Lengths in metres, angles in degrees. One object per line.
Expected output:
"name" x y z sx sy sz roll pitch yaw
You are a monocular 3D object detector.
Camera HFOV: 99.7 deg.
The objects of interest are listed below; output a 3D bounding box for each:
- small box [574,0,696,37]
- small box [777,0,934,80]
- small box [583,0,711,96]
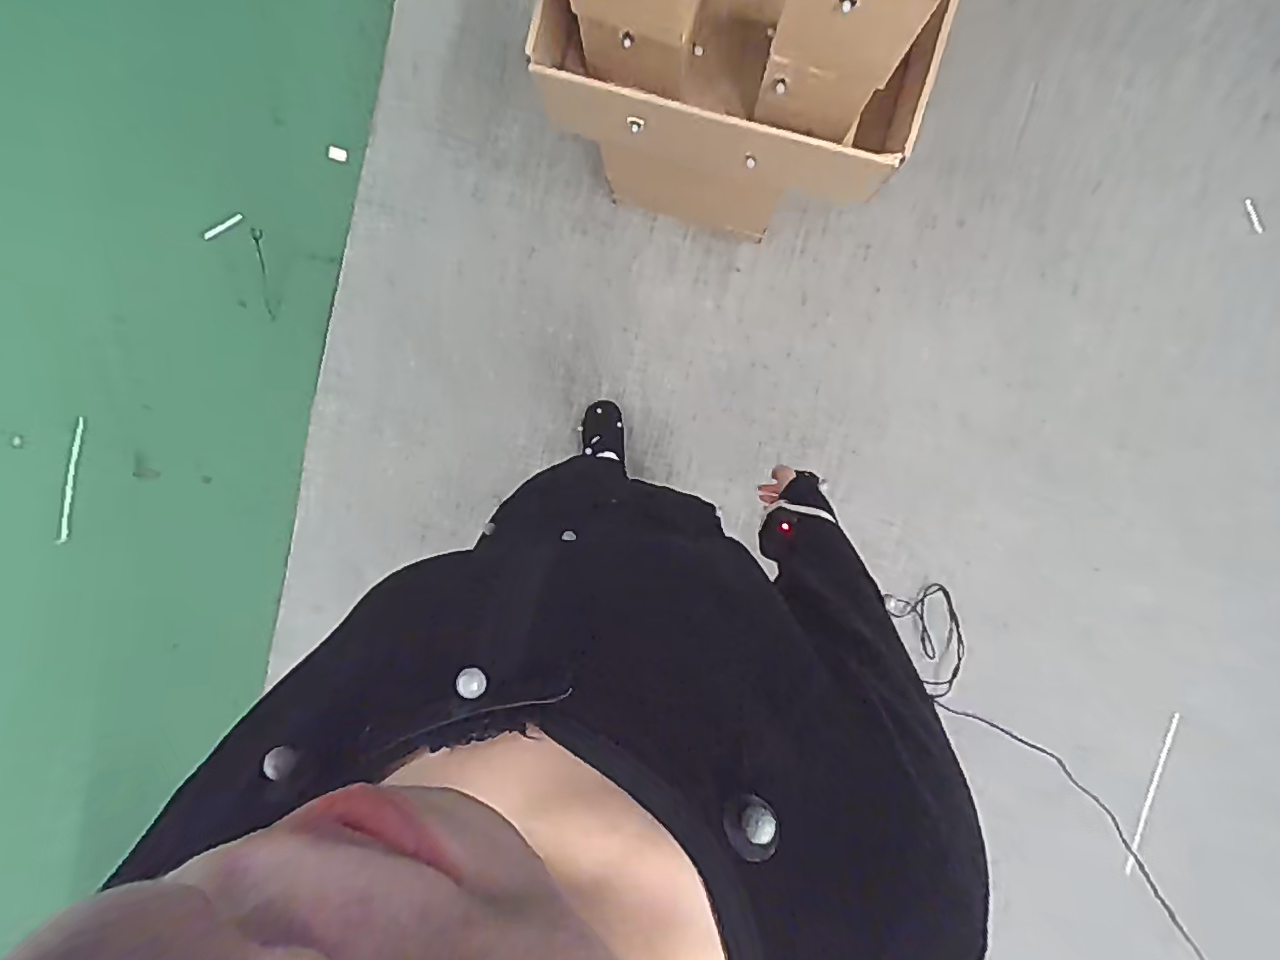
"small box" 0.001 -0.735 0.707 0.179 0.176 0.168 17 96 0
"small box" 0.296 -0.667 0.697 0.179 0.176 0.168 18 95 0
"small box" 0.013 -0.764 0.867 0.179 0.176 0.168 17 96 0
